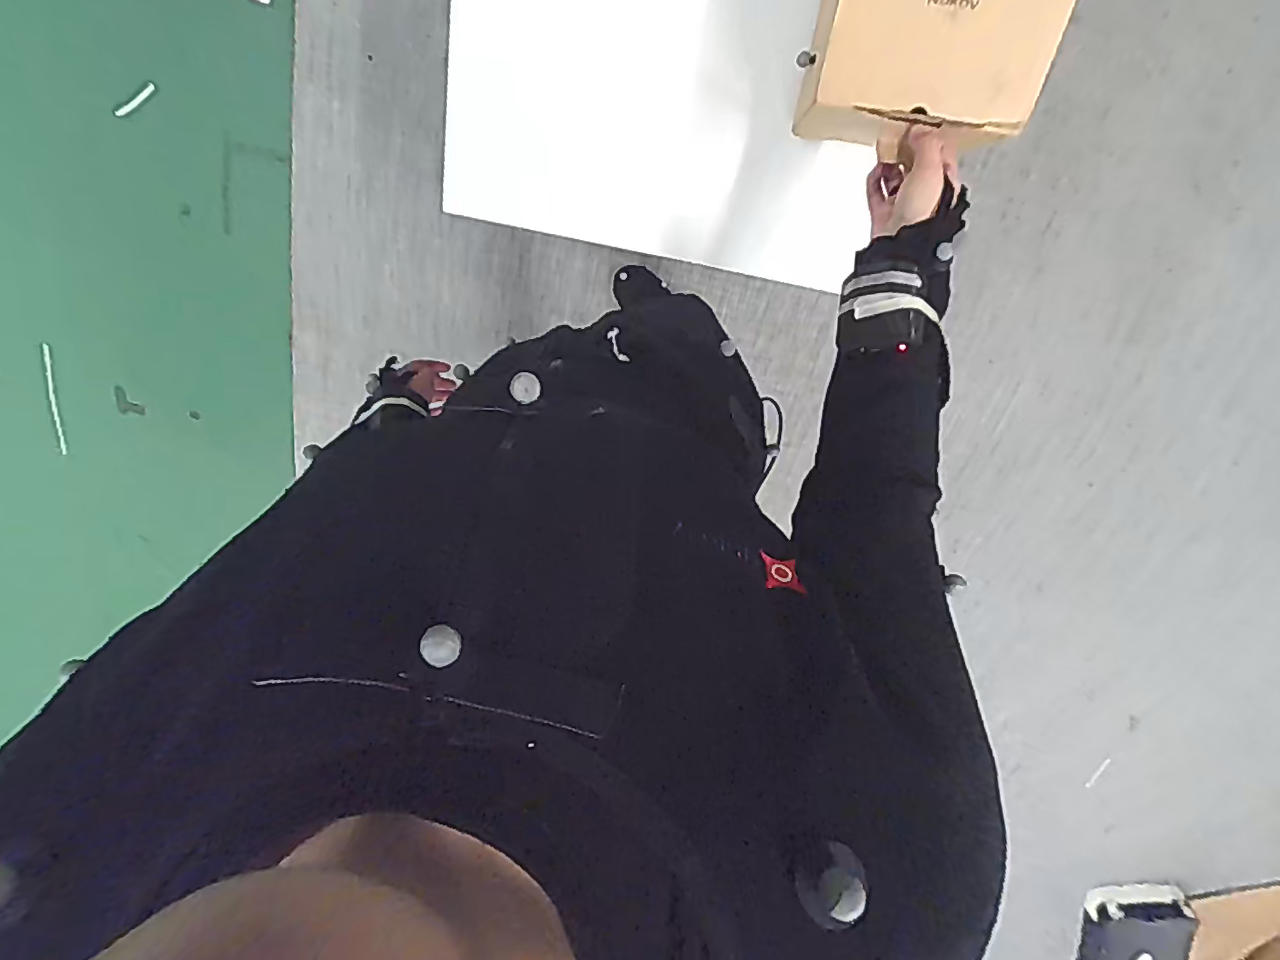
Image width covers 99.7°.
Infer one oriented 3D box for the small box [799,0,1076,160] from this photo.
[{"bbox_3d":[0.243,-0.390,0.464,0.168,0.176,0.179,10,115,3],"label":"small box"}]
